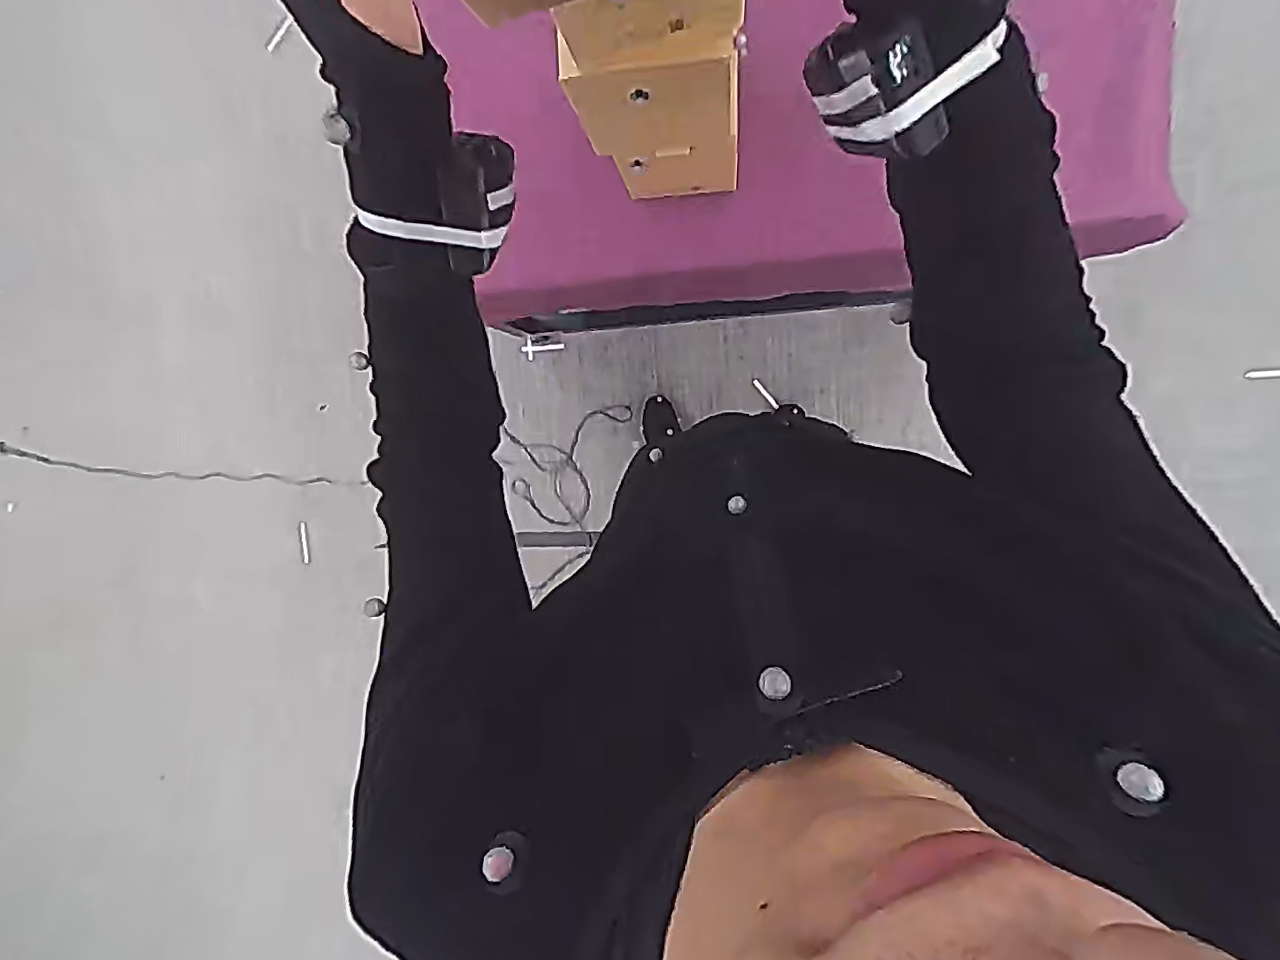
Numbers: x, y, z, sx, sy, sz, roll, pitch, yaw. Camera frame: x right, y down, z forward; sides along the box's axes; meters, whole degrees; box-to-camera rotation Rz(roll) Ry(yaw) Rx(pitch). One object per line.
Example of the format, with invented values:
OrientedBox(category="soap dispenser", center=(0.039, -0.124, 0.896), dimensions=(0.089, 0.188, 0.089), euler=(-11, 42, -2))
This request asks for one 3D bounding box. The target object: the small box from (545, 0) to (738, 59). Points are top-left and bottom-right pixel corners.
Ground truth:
OrientedBox(category="small box", center=(-0.010, -0.492, 0.443), dimensions=(0.168, 0.176, 0.179), euler=(-8, 94, 10))

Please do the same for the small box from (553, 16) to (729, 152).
OrientedBox(category="small box", center=(0.010, -0.494, 0.605), dimensions=(0.179, 0.176, 0.168), euler=(0, 97, 9))
